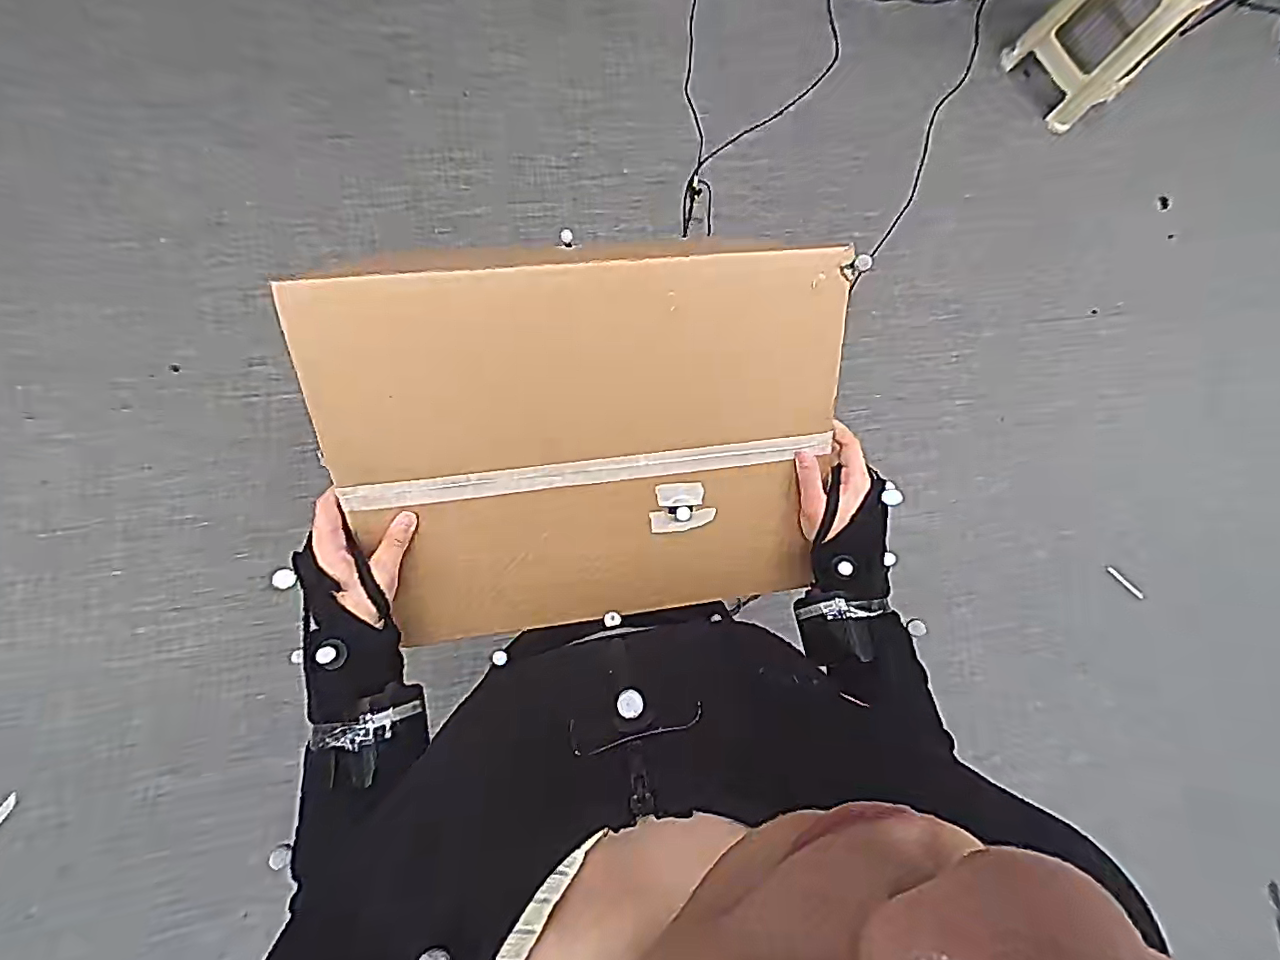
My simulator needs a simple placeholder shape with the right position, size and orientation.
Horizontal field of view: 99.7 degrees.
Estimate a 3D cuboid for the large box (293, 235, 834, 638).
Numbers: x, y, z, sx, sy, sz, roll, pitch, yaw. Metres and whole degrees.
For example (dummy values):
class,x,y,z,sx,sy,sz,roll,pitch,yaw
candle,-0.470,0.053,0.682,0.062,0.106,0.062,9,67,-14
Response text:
class,x,y,z,sx,sy,sz,roll,pitch,yaw
large box,-0.063,-0.082,0.588,0.408,0.320,0.320,-8,118,-9
